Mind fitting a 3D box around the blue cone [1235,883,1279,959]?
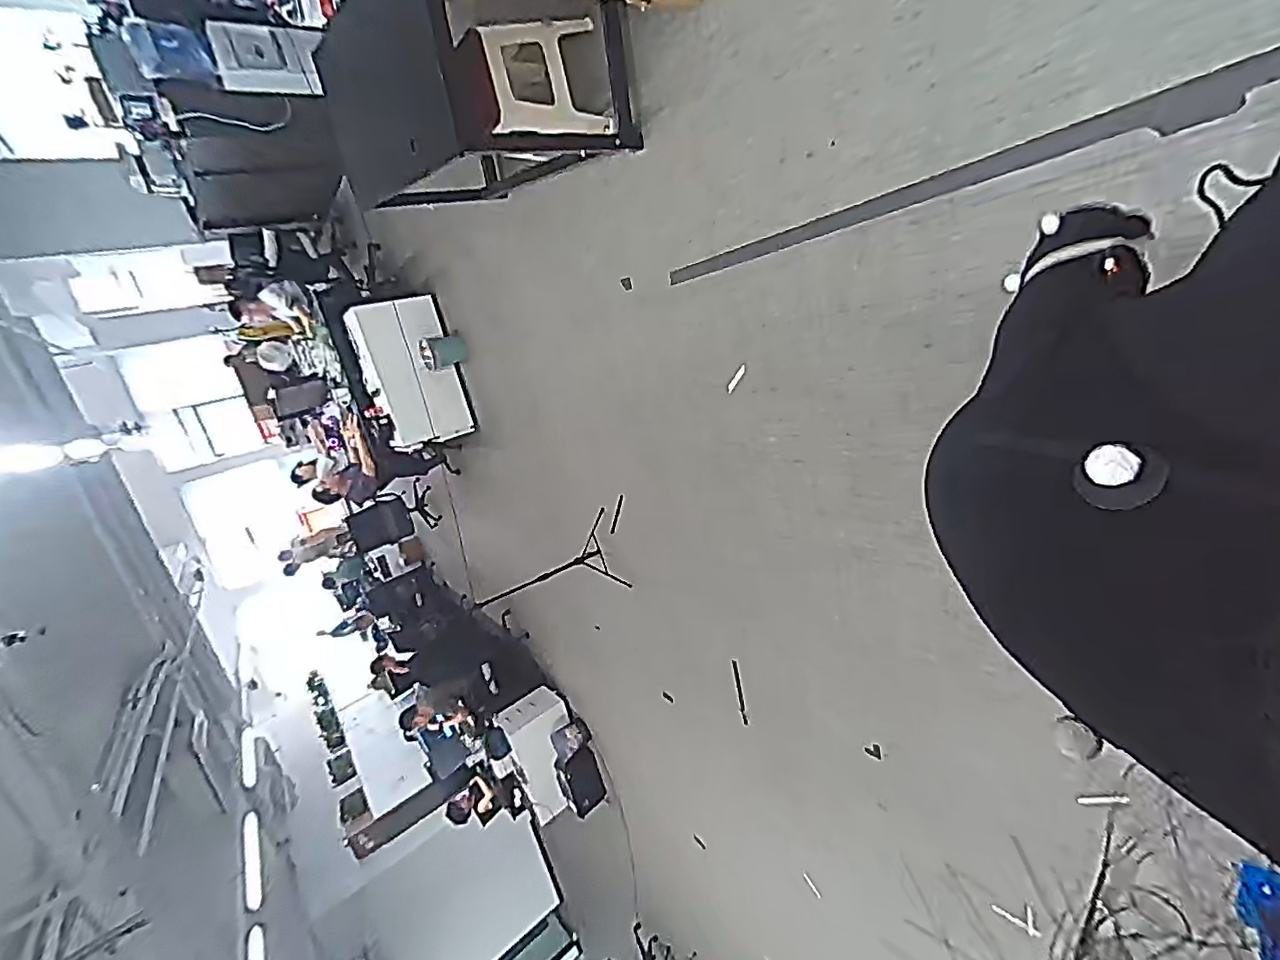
[{"bbox_3d":[1.386,1.105,1.157,0.193,0.380,0.192,6,115,53],"label":"blue cone"}]
